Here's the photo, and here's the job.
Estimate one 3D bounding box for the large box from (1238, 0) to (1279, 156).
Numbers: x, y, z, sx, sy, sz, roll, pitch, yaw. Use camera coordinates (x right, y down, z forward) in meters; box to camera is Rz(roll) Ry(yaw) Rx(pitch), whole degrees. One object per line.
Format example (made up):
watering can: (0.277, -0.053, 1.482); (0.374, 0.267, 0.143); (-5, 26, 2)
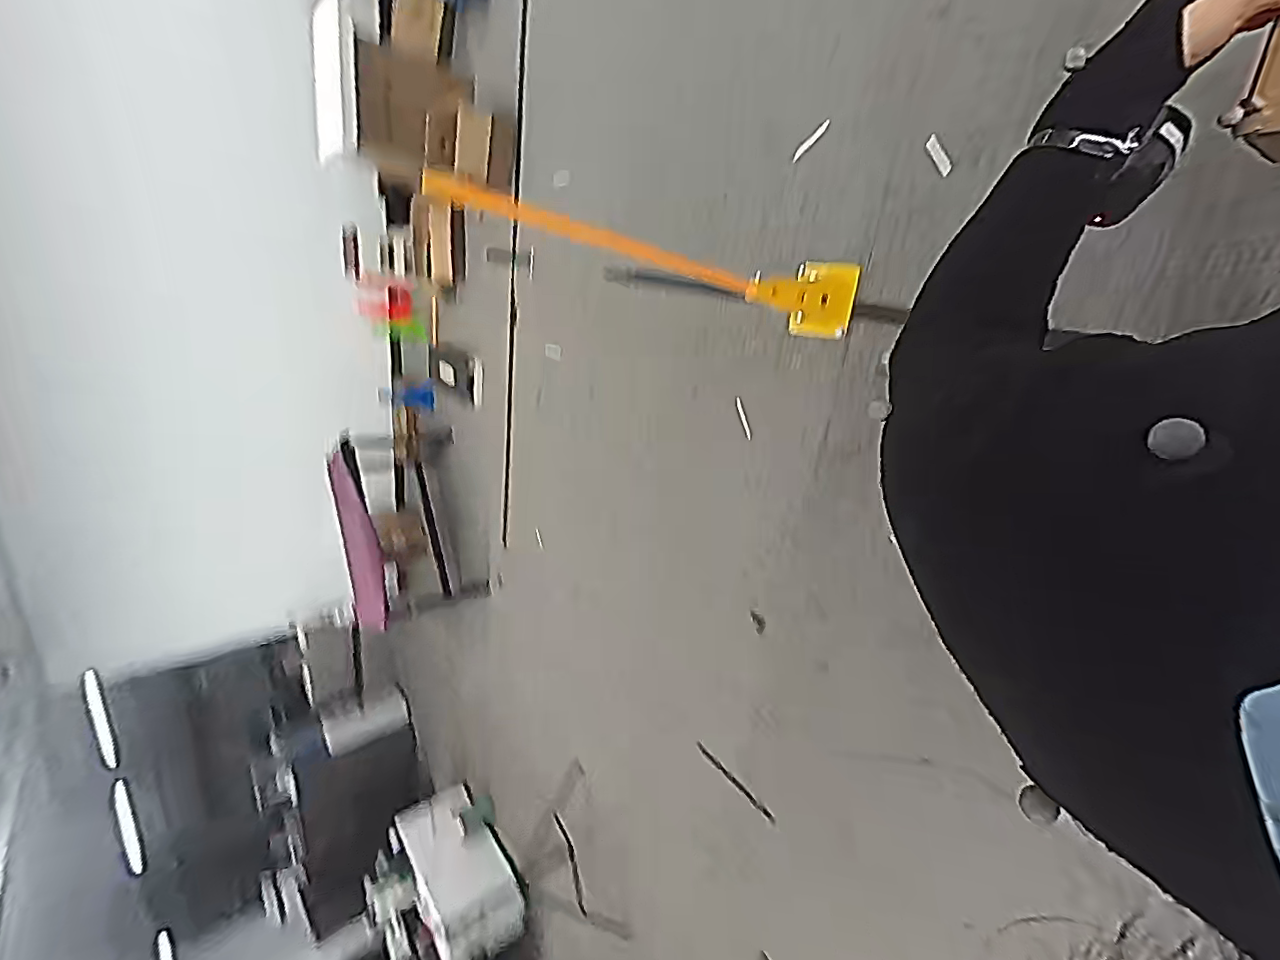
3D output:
large box: (0.662, -0.374, 0.268); (0.408, 0.320, 0.320); (23, 122, 49)
